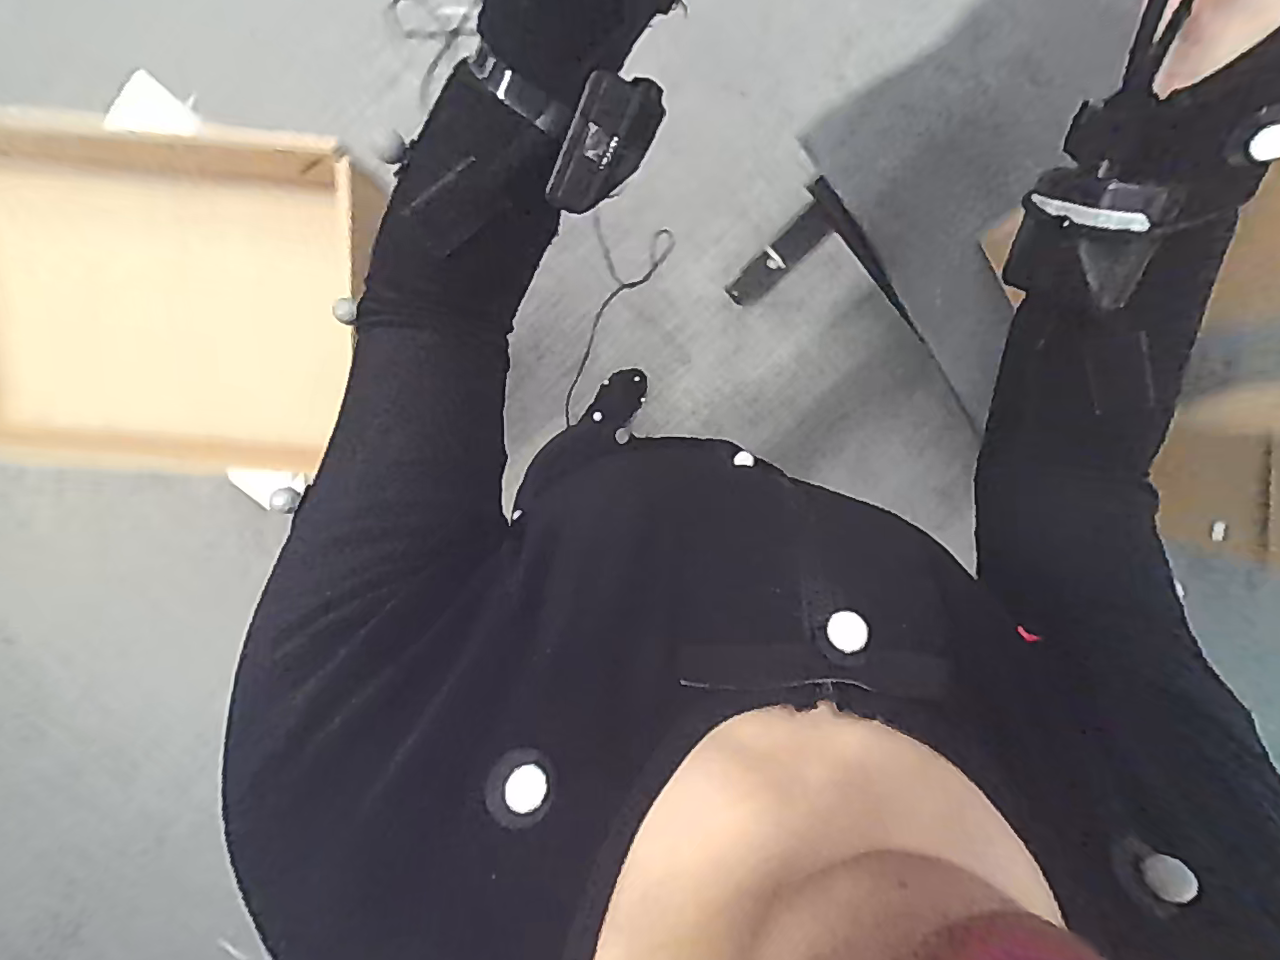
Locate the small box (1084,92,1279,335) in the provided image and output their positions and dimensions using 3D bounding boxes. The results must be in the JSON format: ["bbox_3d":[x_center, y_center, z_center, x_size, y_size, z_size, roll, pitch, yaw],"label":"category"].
[{"bbox_3d":[0.559,-0.246,0.476,0.179,0.176,0.168,-27,98,3],"label":"small box"}]

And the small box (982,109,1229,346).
[{"bbox_3d":[0.557,-0.272,0.637,0.168,0.176,0.179,-33,99,2],"label":"small box"}]

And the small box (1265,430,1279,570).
[{"bbox_3d":[0.779,0.031,0.525,0.168,0.176,0.179,-10,99,-1],"label":"small box"}]
